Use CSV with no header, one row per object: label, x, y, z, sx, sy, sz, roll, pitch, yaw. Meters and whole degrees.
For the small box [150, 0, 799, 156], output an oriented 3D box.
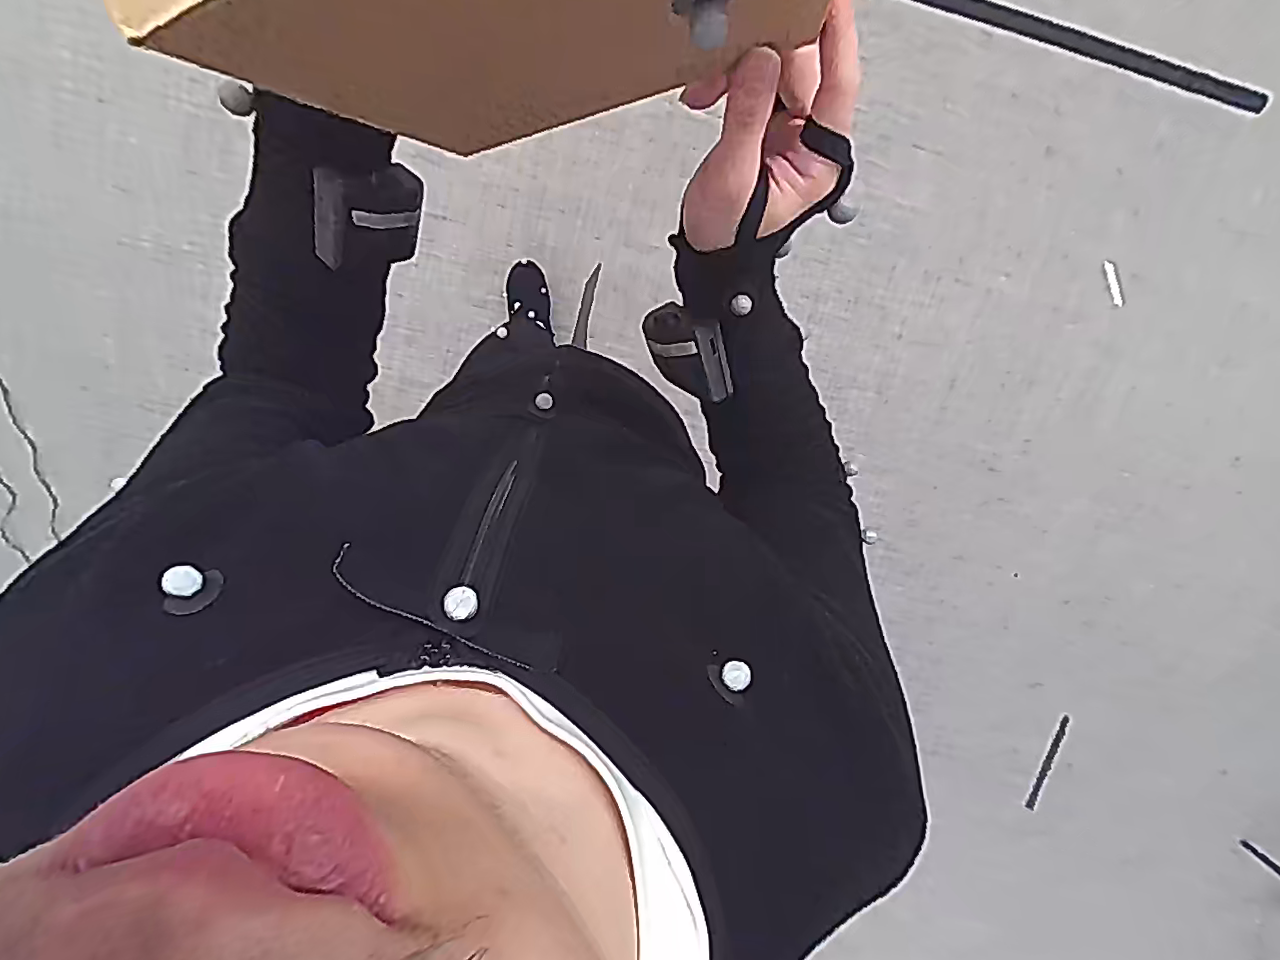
small box,-0.041,-0.224,0.165,0.179,0.176,0.168,-9,109,16
